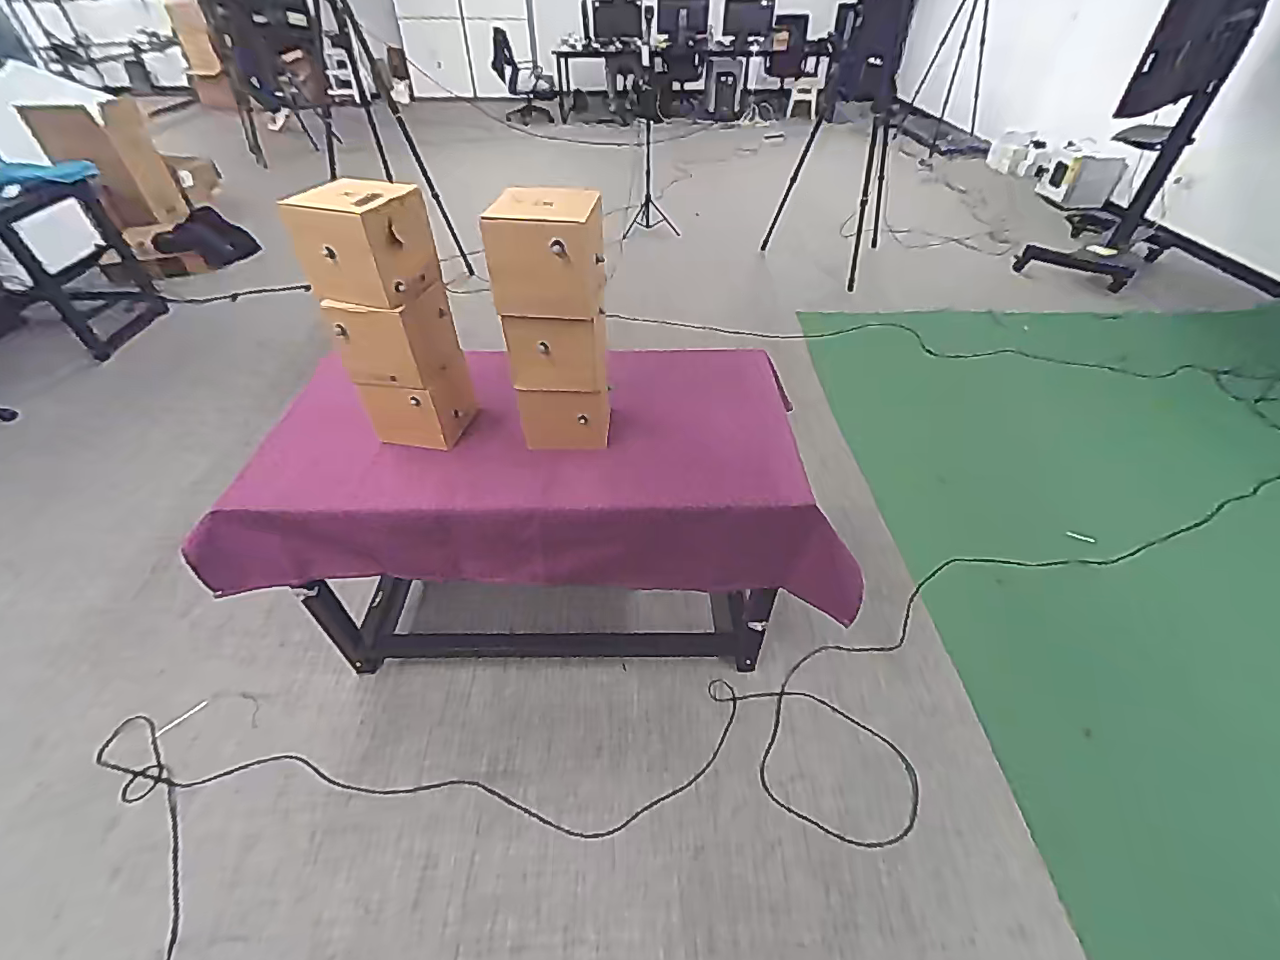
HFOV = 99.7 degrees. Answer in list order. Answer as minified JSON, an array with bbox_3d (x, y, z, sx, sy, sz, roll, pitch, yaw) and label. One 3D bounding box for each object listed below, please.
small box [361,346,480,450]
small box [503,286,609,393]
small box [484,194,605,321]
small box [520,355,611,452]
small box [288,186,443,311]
[{"bbox_3d":[-0.491,-0.186,1.238,0.179,0.176,0.168,8,44,8],"label":"small box"},{"bbox_3d":[-0.161,-0.292,1.109,0.179,0.176,0.168,2,43,3],"label":"small box"},{"bbox_3d":[-0.161,-0.403,0.986,0.179,0.176,0.168,4,42,5],"label":"small box"},{"bbox_3d":[-0.158,-0.177,1.226,0.179,0.176,0.168,1,42,2],"label":"small box"},{"bbox_3d":[-0.505,-0.438,1.026,0.179,0.176,0.168,12,43,14],"label":"small box"}]
